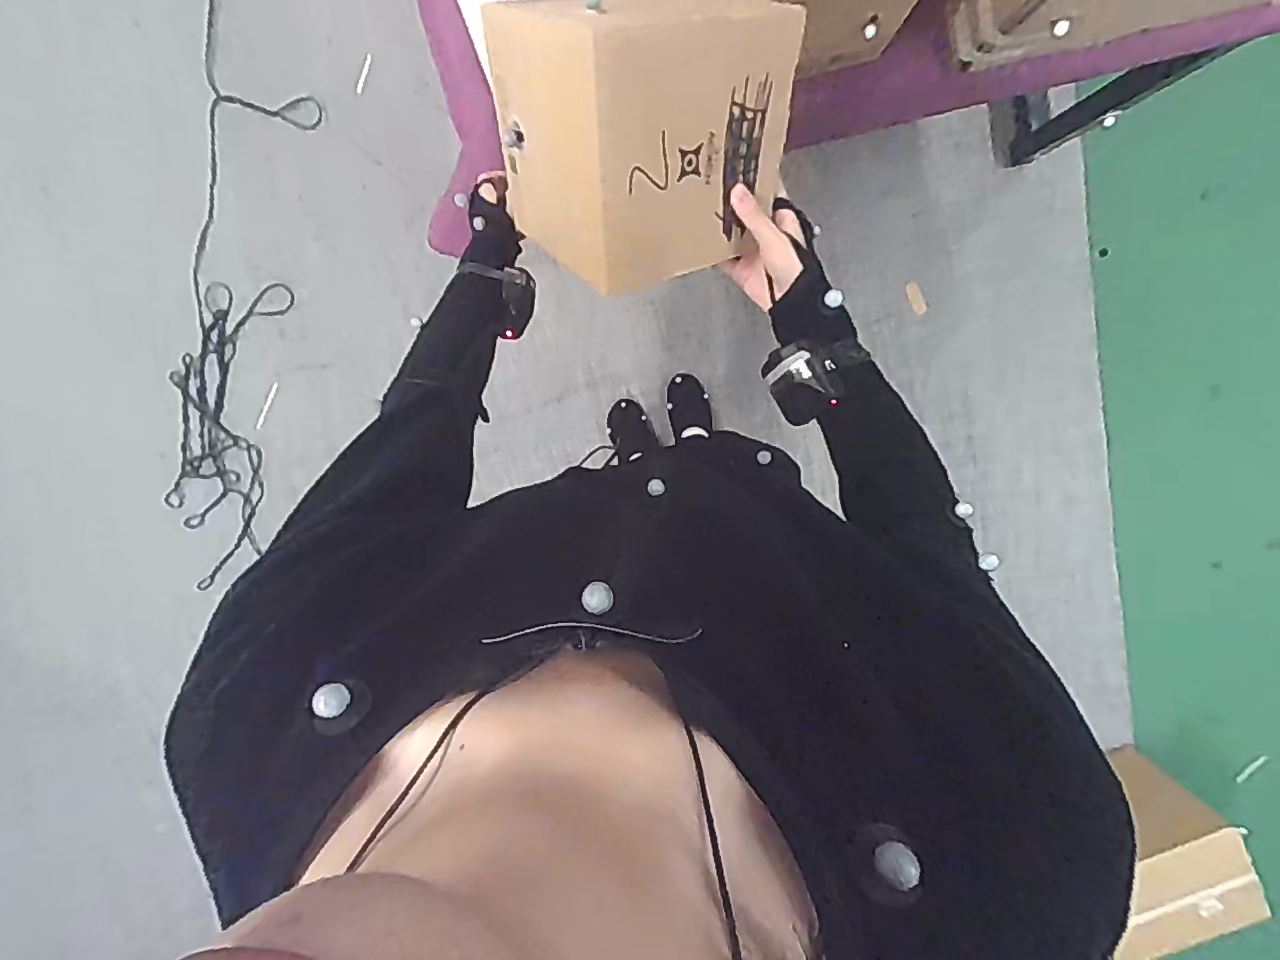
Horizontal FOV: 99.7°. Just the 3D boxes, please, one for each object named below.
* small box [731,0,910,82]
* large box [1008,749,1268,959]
[{"bbox_3d":[0.193,-0.564,0.576,0.168,0.176,0.179,-11,99,3],"label":"small box"},{"bbox_3d":[1.376,1.057,1.534,0.408,0.320,0.320,-27,100,5],"label":"large box"}]
